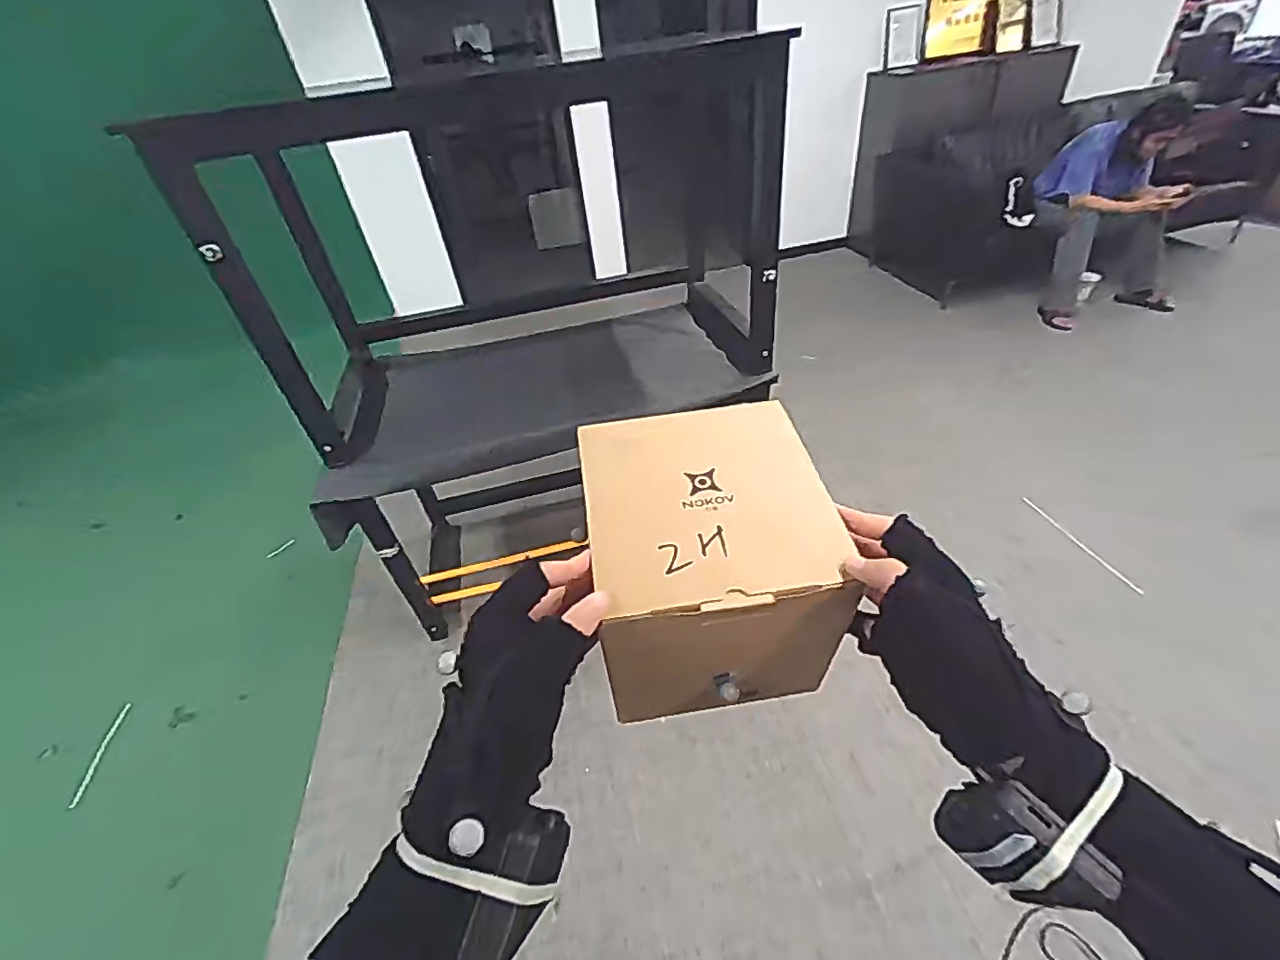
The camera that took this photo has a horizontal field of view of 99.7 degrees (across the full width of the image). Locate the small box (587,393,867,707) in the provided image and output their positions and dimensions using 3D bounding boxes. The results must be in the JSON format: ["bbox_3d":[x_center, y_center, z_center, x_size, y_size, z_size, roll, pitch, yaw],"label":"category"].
[{"bbox_3d":[0.051,0.055,0.438,0.168,0.176,0.179,-8,46,-3],"label":"small box"}]
